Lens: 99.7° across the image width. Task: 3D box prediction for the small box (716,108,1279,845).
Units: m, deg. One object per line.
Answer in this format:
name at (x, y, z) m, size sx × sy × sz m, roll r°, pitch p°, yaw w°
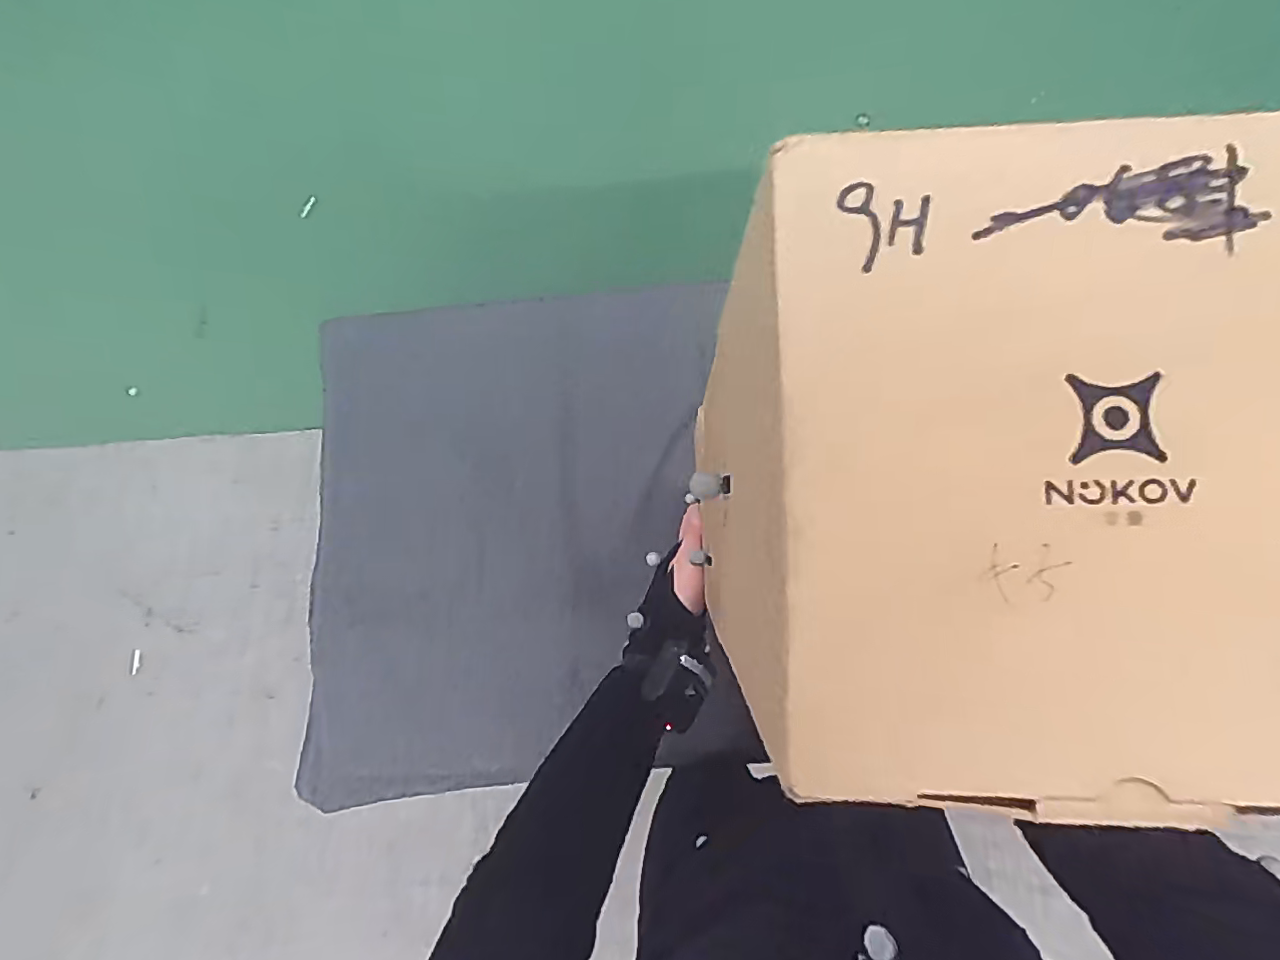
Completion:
small box at (0.120, 0.001, 0.209) m, size 0.168 × 0.176 × 0.179 m, roll 0°, pitch 87°, yaw 3°
